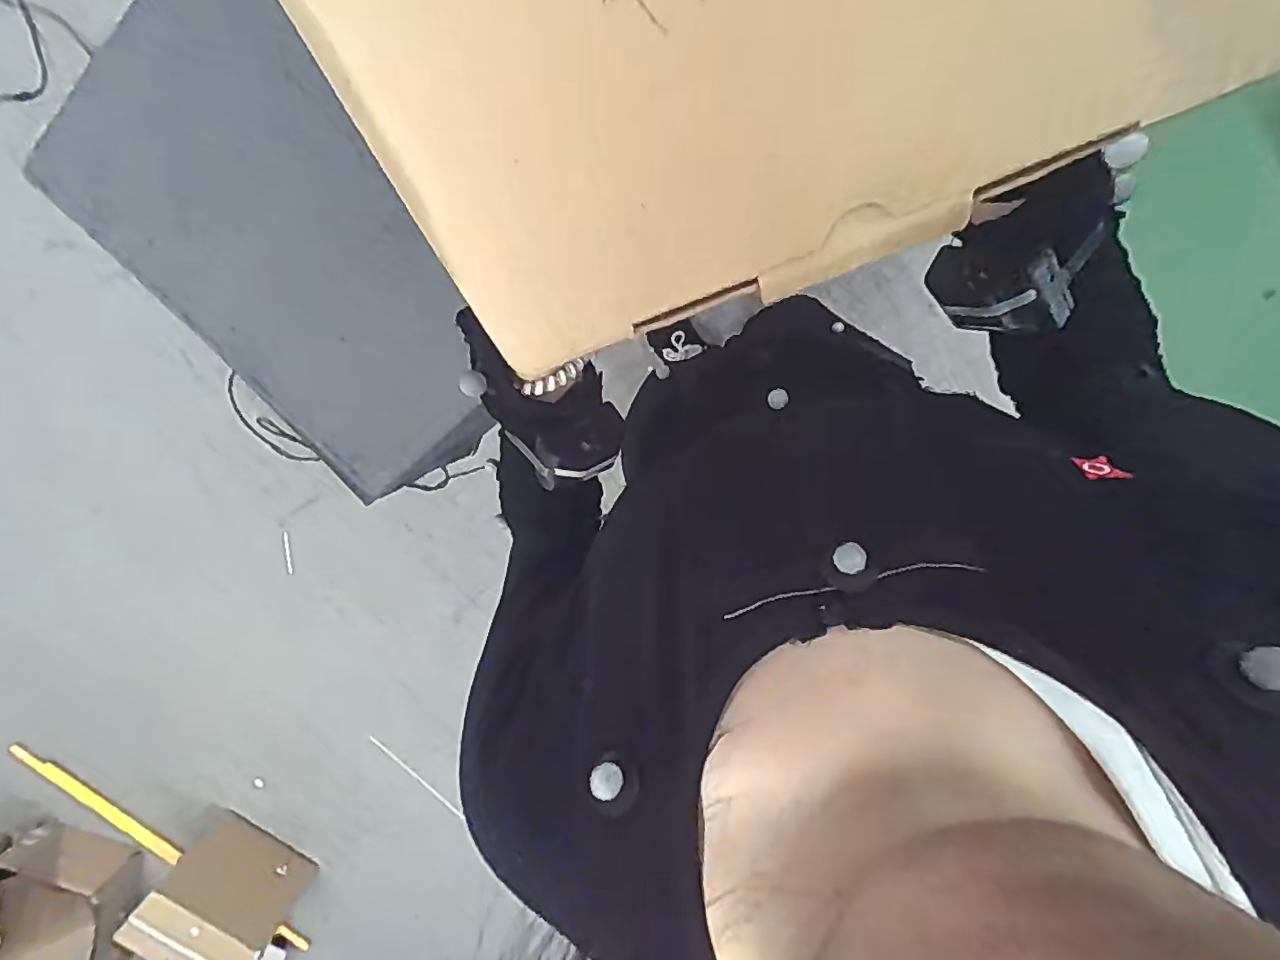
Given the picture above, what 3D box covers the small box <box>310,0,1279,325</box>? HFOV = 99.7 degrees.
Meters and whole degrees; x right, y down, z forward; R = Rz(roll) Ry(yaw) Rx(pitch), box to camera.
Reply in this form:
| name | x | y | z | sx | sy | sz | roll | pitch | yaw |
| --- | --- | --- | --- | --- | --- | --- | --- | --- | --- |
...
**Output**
| name | x | y | z | sx | sy | sz | roll | pitch | yaw |
| --- | --- | --- | --- | --- | --- | --- | --- | --- | --- |
| small box | 0.010 | -0.171 | 0.127 | 0.168 | 0.176 | 0.179 | -18 | 127 | 10 |
